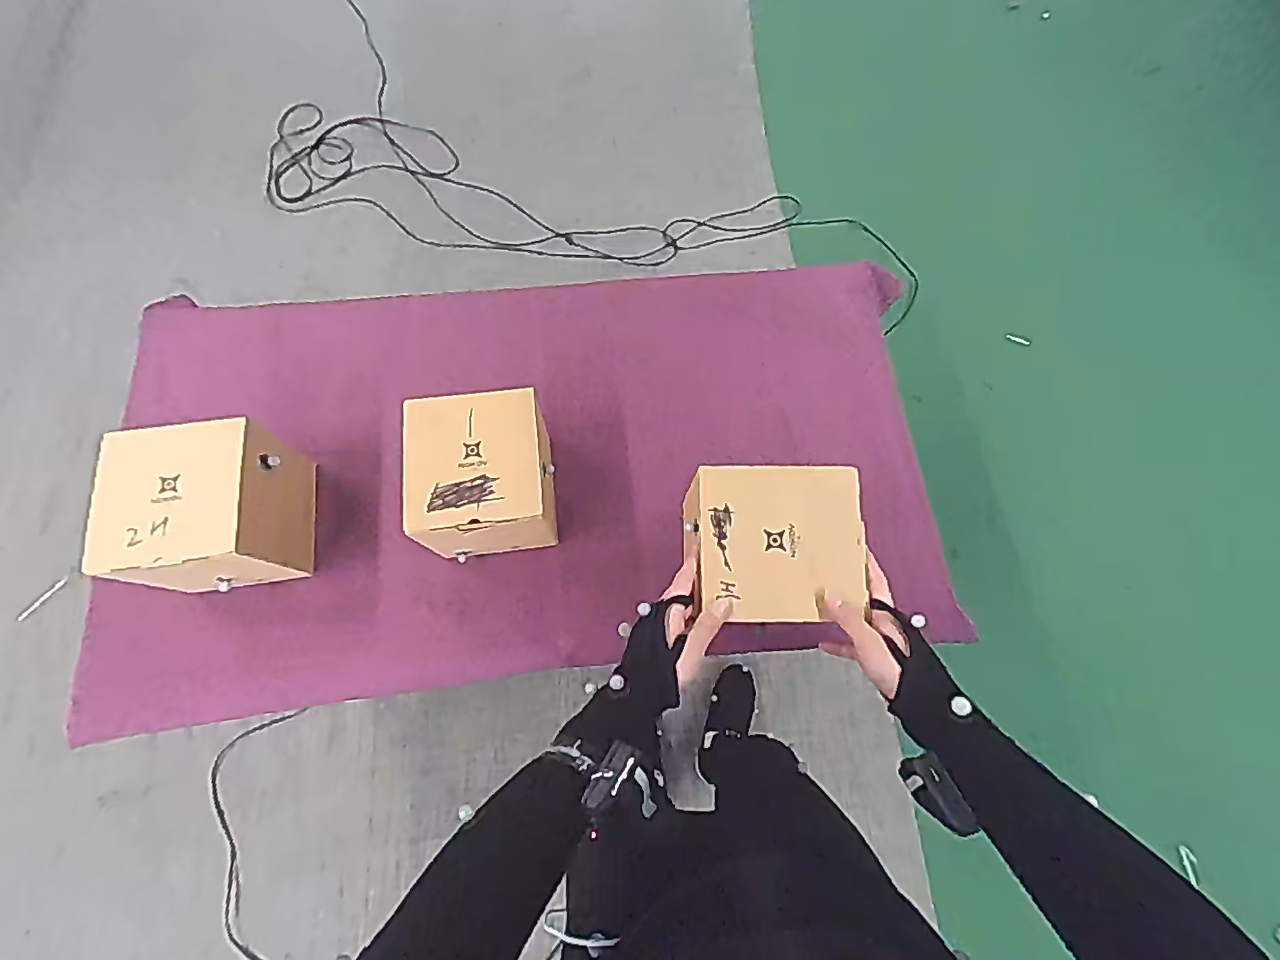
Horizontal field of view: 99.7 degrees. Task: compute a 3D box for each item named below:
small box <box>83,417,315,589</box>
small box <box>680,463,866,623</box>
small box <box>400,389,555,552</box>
[{"bbox_3d":[-0.555,0.037,0.711,0.168,0.176,0.179,-7,72,-4],"label":"small box"},{"bbox_3d":[0.144,0.082,0.645,0.179,0.176,0.168,1,75,-1],"label":"small box"},{"bbox_3d":[-0.211,-0.003,0.738,0.168,0.176,0.179,-6,71,-4],"label":"small box"}]
